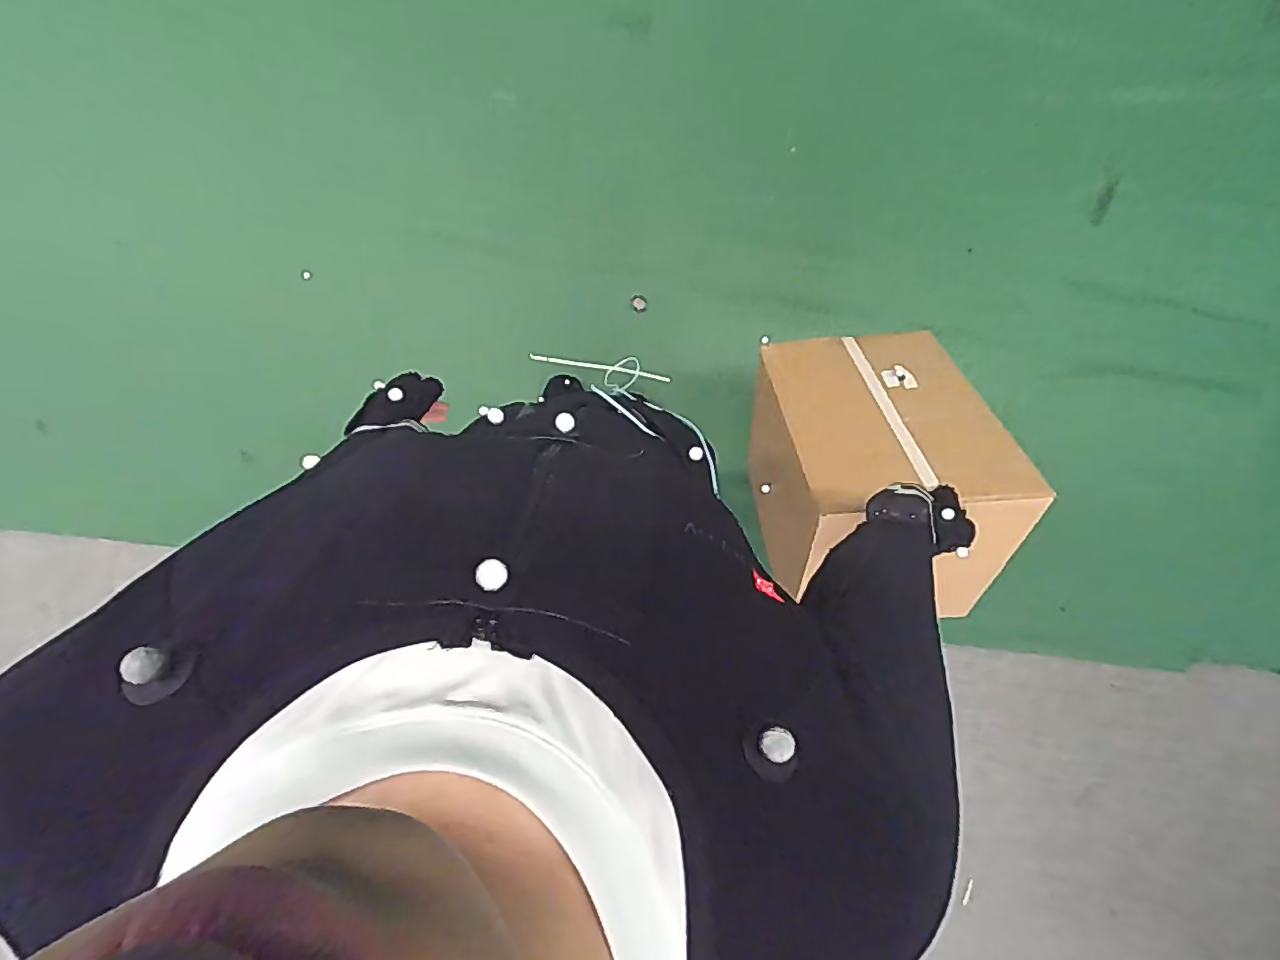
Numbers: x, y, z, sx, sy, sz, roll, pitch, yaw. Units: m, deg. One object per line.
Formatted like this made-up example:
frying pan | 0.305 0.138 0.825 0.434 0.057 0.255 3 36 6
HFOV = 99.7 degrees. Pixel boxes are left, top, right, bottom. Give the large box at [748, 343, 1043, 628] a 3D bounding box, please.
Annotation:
large box | 0.392 0.003 0.968 0.320 0.408 0.320 -4 135 0
